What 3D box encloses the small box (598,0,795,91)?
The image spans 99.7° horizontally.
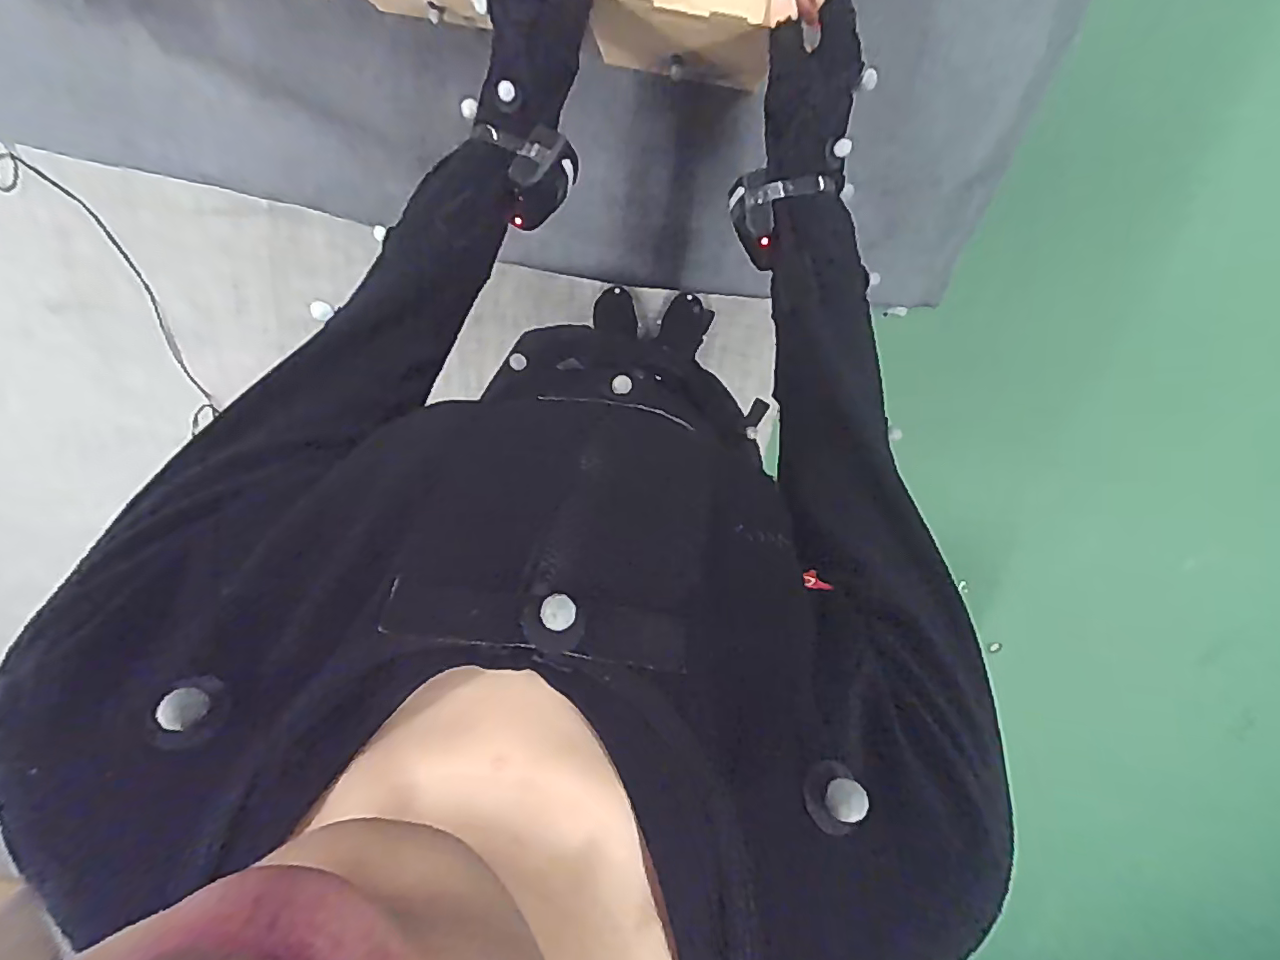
[{"bbox_3d":[0.055,-0.472,0.462,0.168,0.176,0.179,11,112,1],"label":"small box"}]
